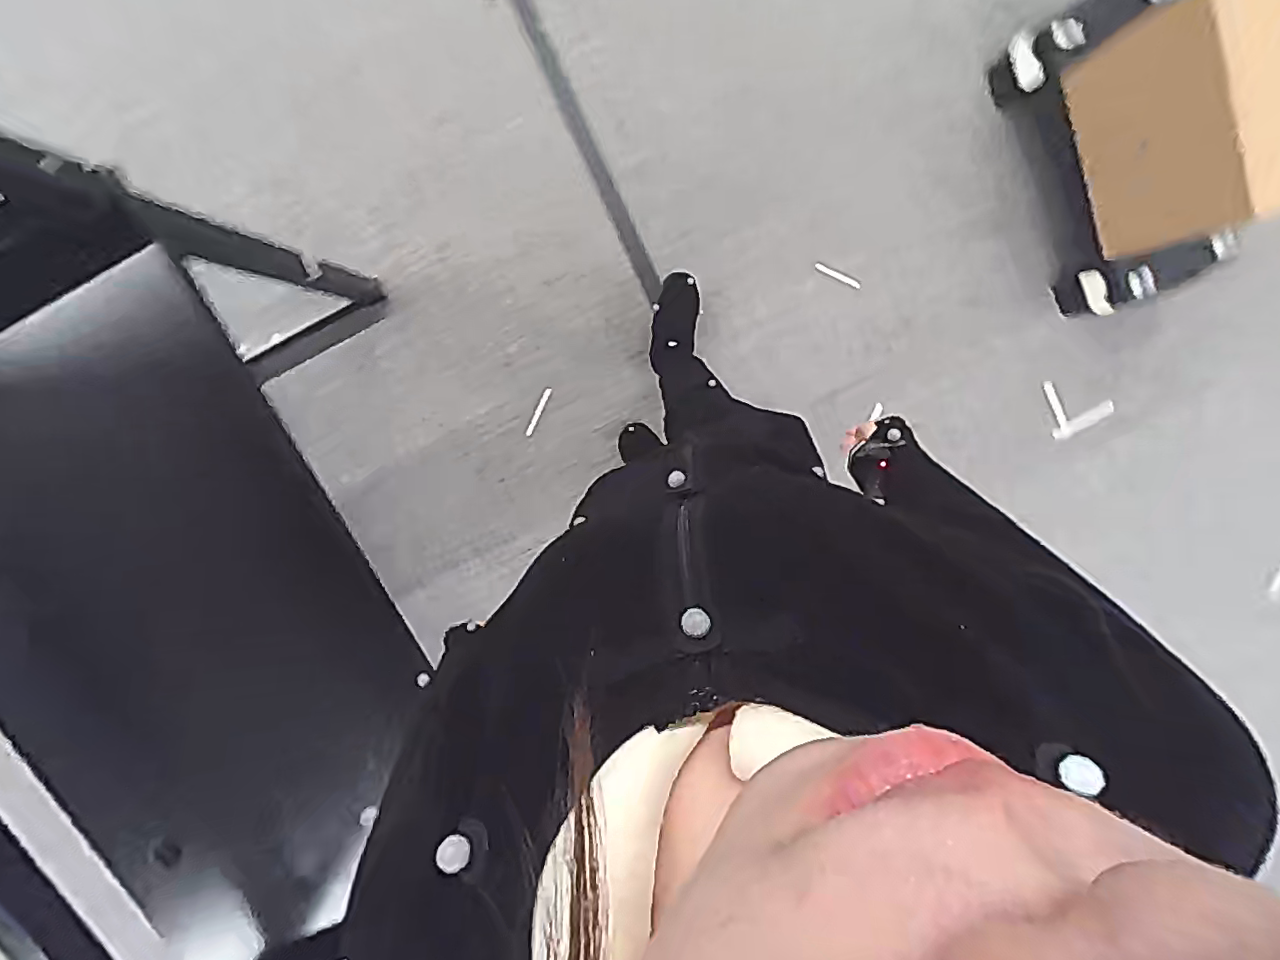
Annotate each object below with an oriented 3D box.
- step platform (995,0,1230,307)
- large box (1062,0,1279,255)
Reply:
[{"bbox_3d":[1.094,-0.776,1.258,0.286,0.204,0.684,-21,99,3],"label":"step platform"},{"bbox_3d":[1.111,-0.713,1.027,0.320,0.320,0.408,-23,99,3],"label":"large box"}]
